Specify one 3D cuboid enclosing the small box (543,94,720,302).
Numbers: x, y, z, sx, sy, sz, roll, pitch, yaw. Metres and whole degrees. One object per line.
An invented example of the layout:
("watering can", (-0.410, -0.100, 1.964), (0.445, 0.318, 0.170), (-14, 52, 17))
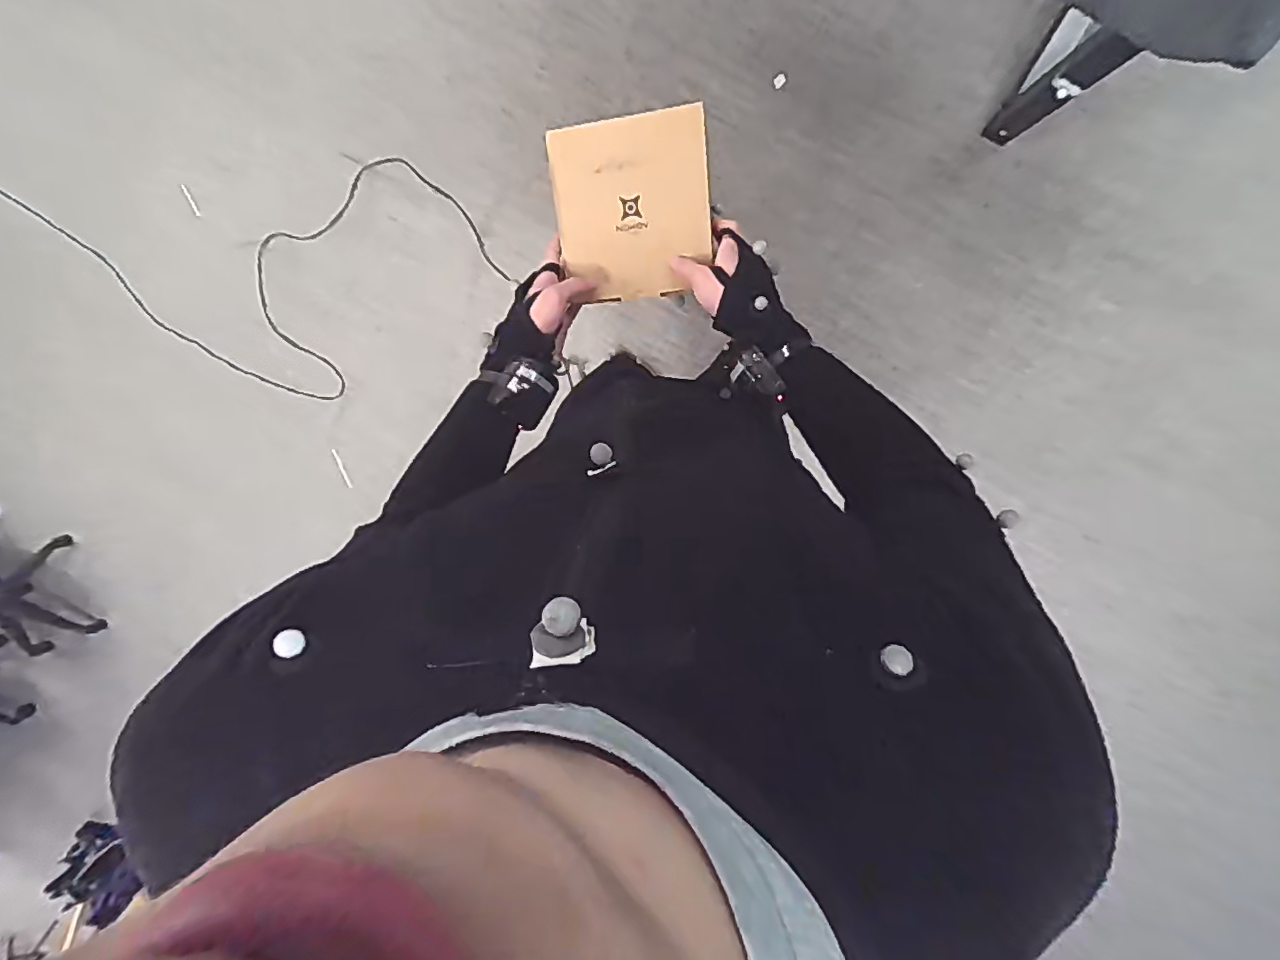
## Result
("small box", (0.004, -0.308, 0.628), (0.168, 0.176, 0.179), (-3, 108, 11))
